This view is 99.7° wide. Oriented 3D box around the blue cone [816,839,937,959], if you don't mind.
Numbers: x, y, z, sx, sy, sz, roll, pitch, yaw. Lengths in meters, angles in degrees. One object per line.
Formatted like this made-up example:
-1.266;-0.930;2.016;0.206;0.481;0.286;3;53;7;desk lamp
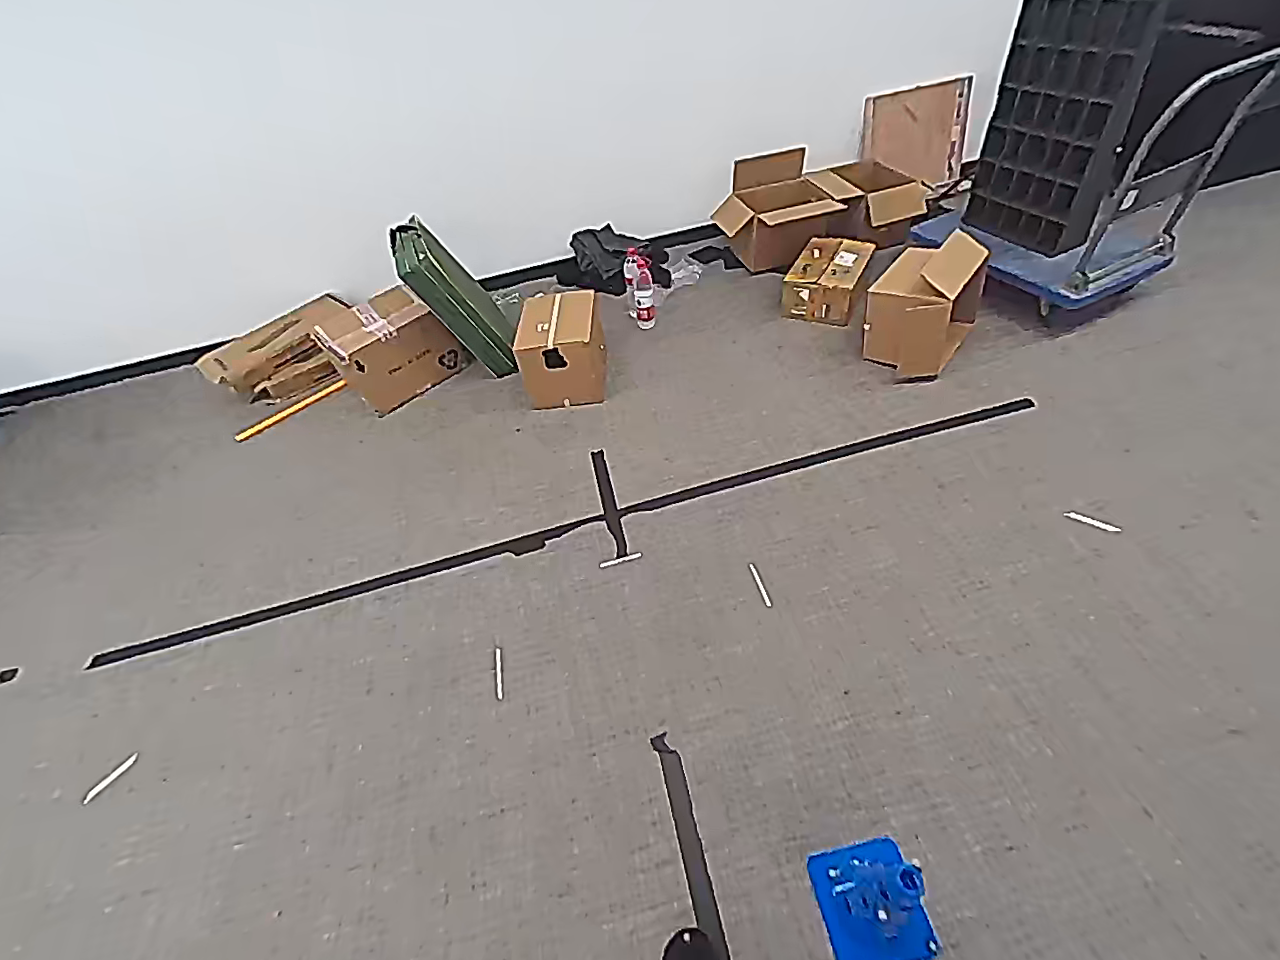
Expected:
0.449;0.740;0.972;0.192;0.380;0.193;-11;47;-1;blue cone
